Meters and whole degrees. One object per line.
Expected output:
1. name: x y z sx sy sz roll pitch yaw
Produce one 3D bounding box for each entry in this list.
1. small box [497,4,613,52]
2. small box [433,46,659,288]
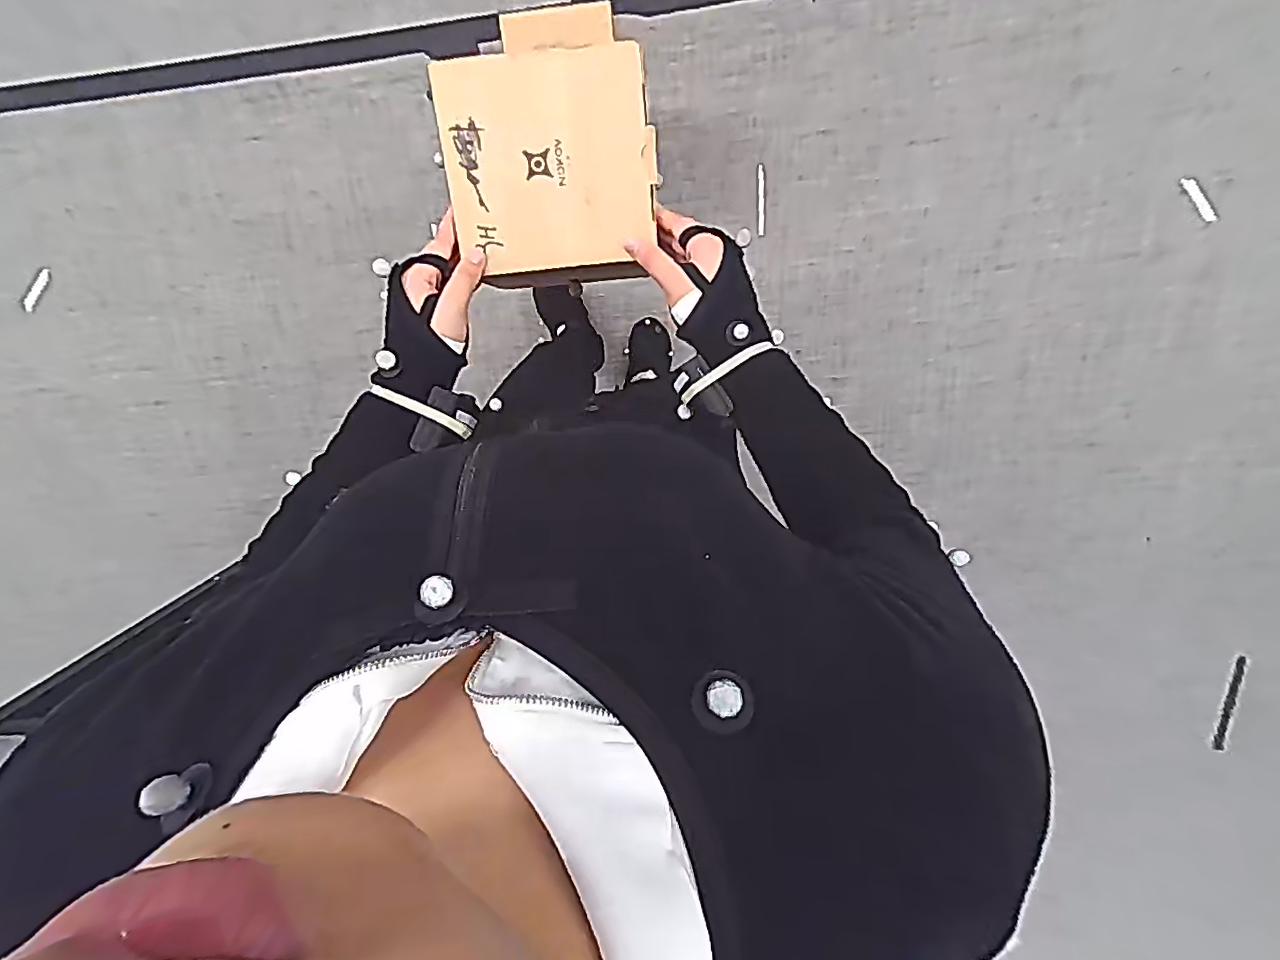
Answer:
1. small box: -0.119 -0.626 0.885 0.168 0.176 0.179 -5 108 2
2. small box: -0.080 -0.288 0.533 0.179 0.176 0.168 -5 104 -2
